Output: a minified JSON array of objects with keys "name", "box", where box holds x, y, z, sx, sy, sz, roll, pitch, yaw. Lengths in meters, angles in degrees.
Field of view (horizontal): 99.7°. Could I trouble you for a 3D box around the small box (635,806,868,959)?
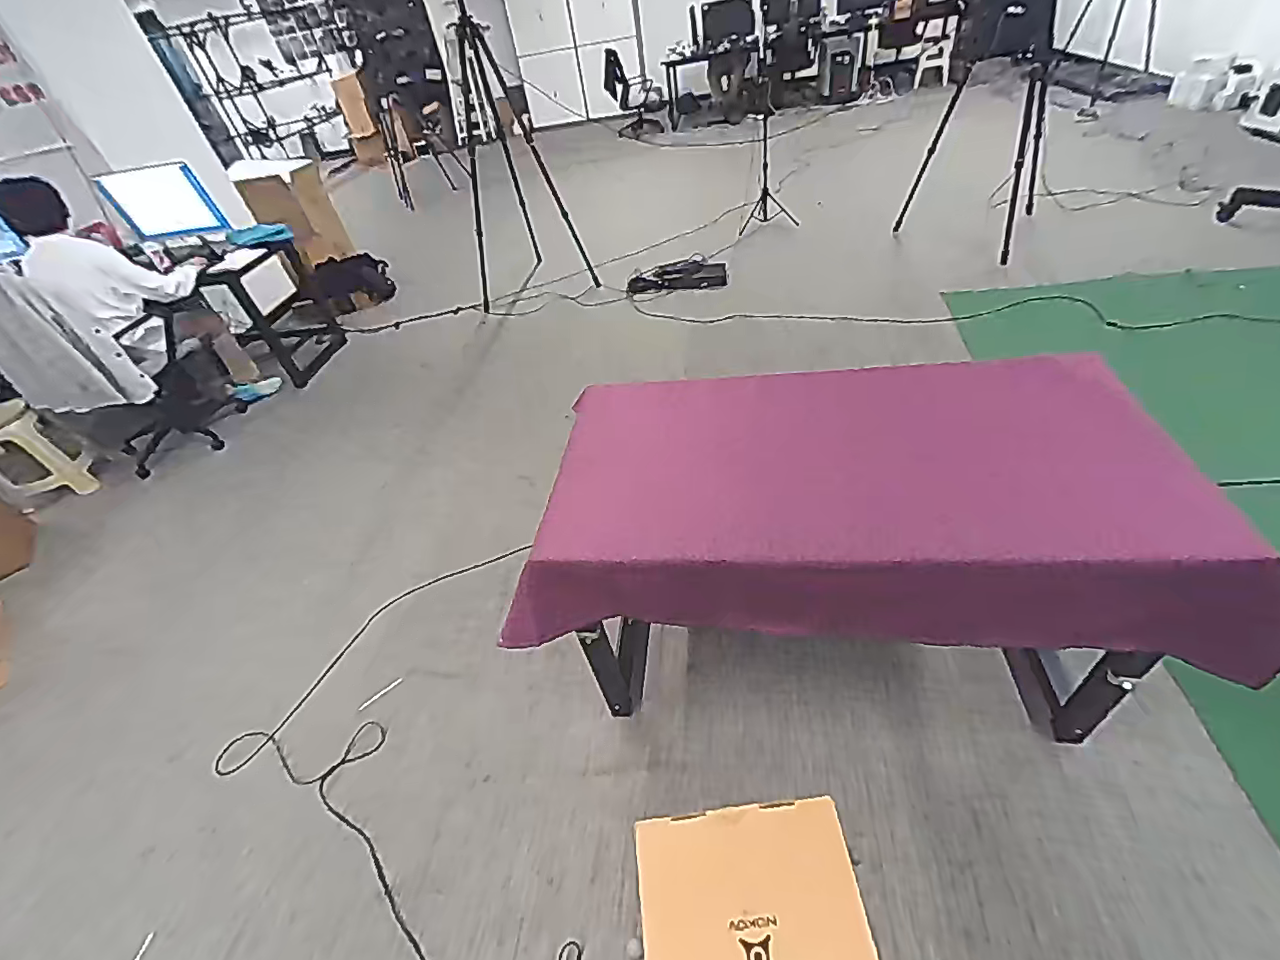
[{"name":"small box","box":[0.093,0.397,0.457,0.168,0.176,0.179,-9,49,2]}]
